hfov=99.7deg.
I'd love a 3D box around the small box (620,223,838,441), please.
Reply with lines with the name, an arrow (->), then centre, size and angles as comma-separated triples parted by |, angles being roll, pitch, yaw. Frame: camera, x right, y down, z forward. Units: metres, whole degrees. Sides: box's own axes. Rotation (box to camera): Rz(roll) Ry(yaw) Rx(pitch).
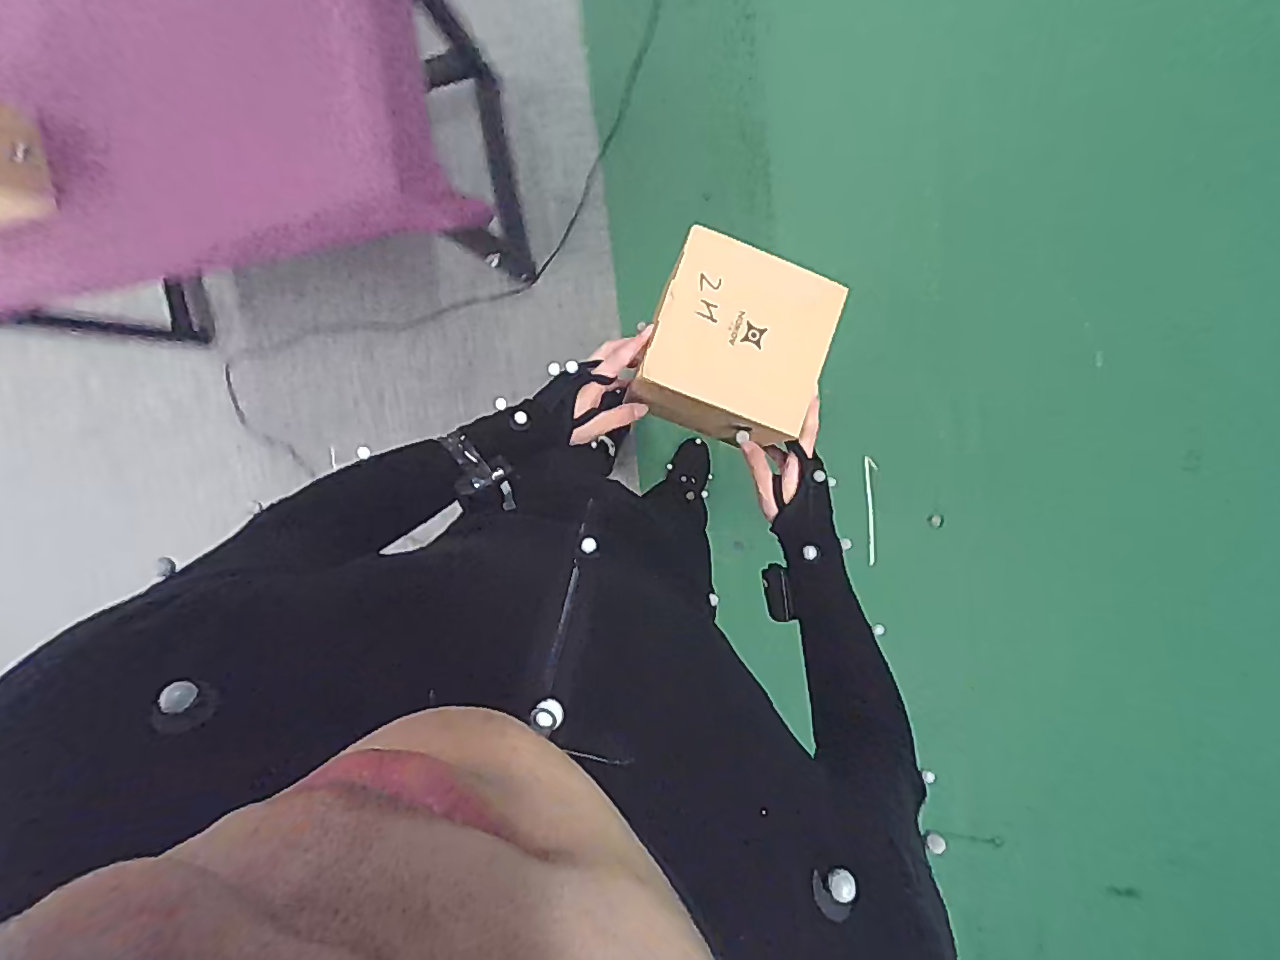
small box -> 0.087, -0.149, 0.615 | 0.179, 0.176, 0.168 | 19, 86, -5
